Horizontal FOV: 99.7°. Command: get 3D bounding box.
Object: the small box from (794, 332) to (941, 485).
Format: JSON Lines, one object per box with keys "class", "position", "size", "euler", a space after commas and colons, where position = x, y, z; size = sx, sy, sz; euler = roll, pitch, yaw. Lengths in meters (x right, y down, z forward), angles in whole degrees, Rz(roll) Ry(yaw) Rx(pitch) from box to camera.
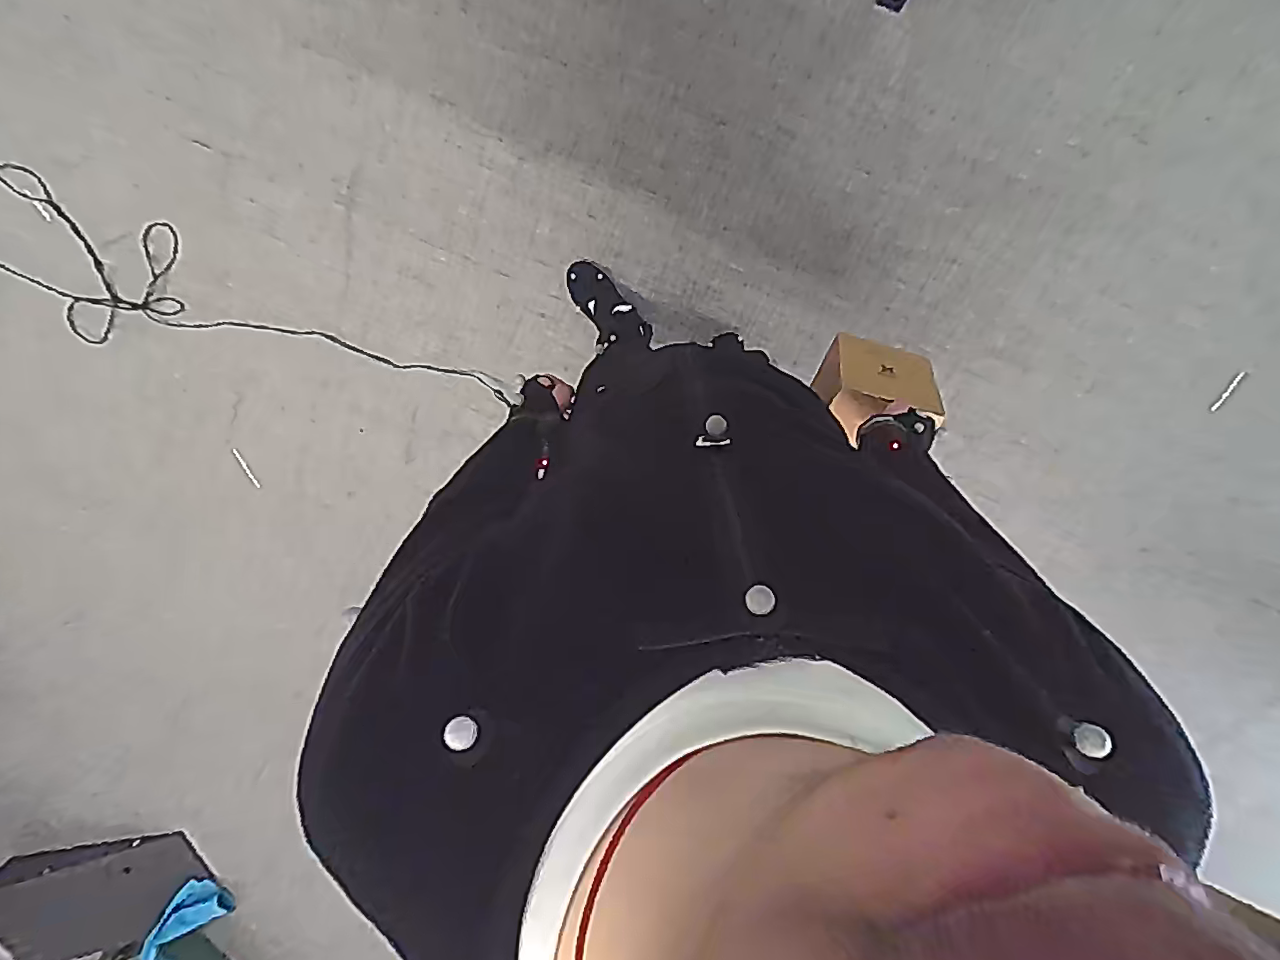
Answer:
{"class": "small box", "position": [0.372, -0.118, 0.918], "size": [0.168, 0.179, 0.176], "euler": [17, 134, 0]}
